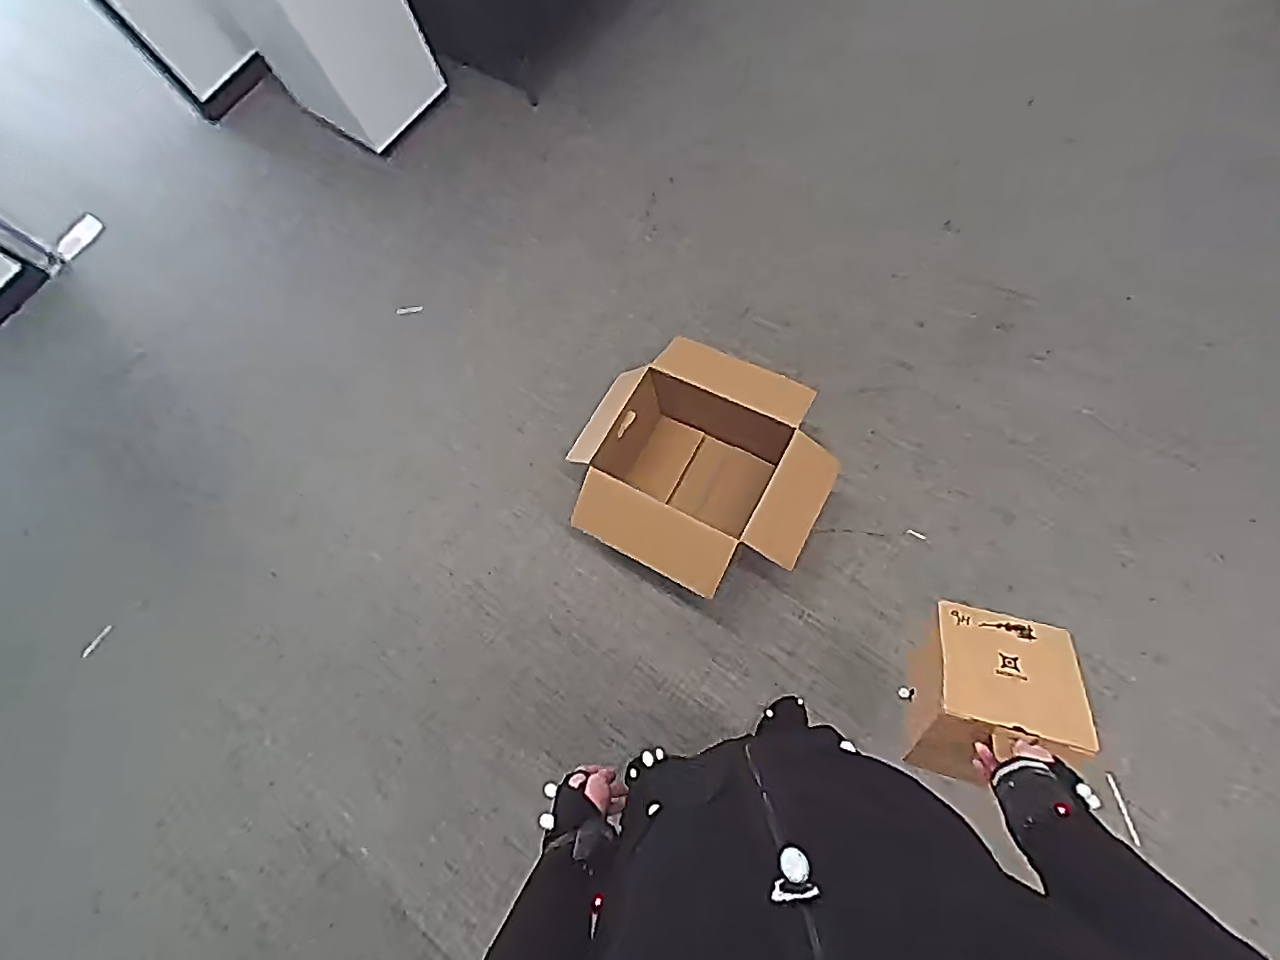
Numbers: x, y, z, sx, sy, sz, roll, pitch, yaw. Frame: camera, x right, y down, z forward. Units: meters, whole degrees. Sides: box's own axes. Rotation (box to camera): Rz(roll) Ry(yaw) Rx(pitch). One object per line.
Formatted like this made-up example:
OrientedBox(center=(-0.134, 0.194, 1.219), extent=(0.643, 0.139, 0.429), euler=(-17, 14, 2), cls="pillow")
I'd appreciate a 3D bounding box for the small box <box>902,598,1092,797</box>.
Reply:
OrientedBox(center=(0.473, 0.300, 0.747), extent=(0.168, 0.176, 0.179), euler=(13, 43, 17), cls="small box")
